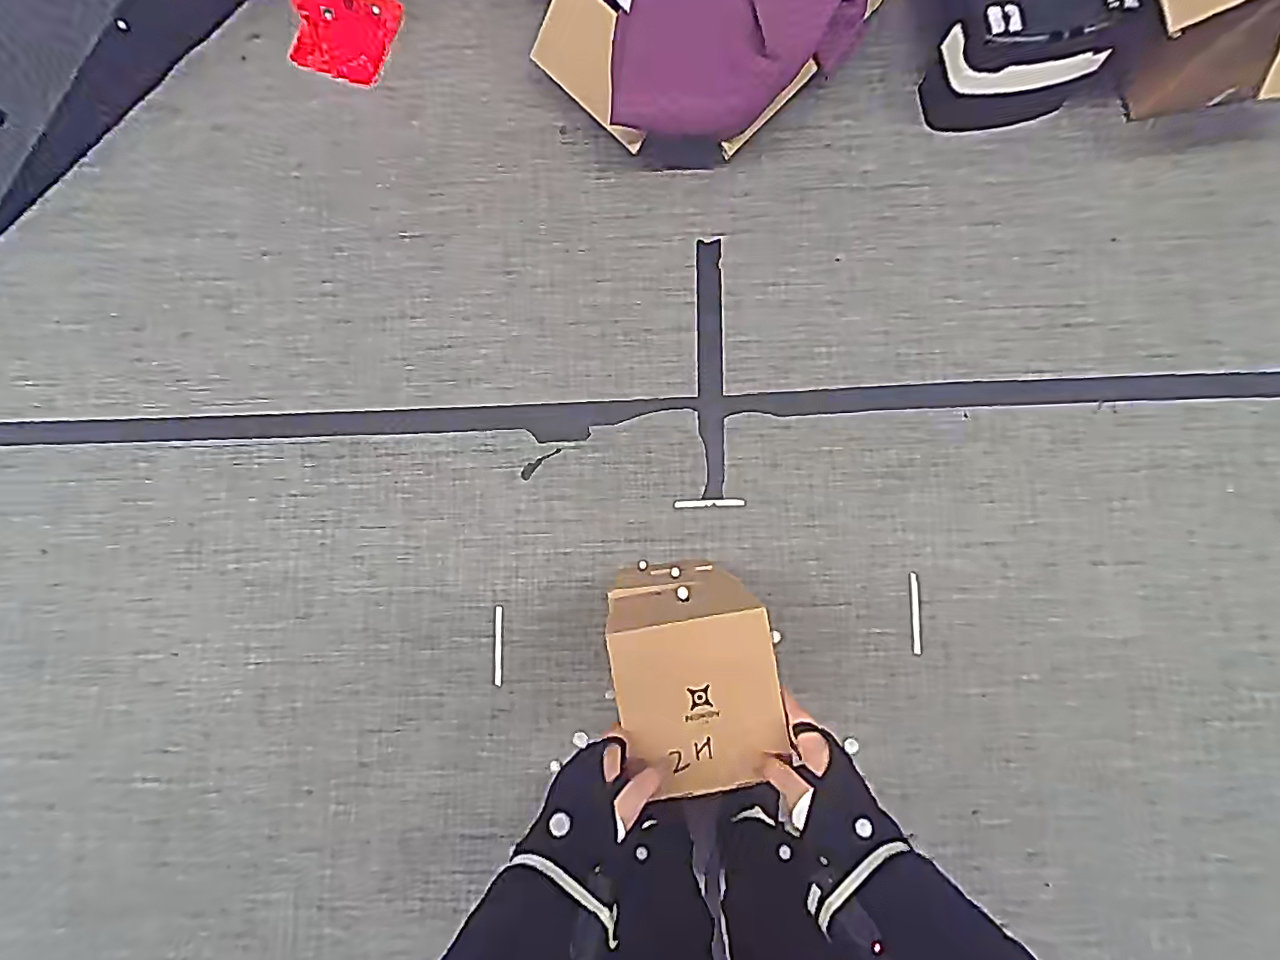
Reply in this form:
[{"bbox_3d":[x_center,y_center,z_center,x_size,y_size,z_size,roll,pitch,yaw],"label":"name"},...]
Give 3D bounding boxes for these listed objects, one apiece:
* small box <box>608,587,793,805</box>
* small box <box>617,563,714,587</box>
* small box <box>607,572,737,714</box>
[{"bbox_3d":[0.059,0.226,0.617,0.168,0.176,0.179,-10,90,0],"label":"small box"},{"bbox_3d":[0.054,0.245,0.956,0.168,0.176,0.179,-8,87,2],"label":"small box"},{"bbox_3d":[0.053,0.230,0.792,0.179,0.176,0.168,-6,86,1],"label":"small box"}]
